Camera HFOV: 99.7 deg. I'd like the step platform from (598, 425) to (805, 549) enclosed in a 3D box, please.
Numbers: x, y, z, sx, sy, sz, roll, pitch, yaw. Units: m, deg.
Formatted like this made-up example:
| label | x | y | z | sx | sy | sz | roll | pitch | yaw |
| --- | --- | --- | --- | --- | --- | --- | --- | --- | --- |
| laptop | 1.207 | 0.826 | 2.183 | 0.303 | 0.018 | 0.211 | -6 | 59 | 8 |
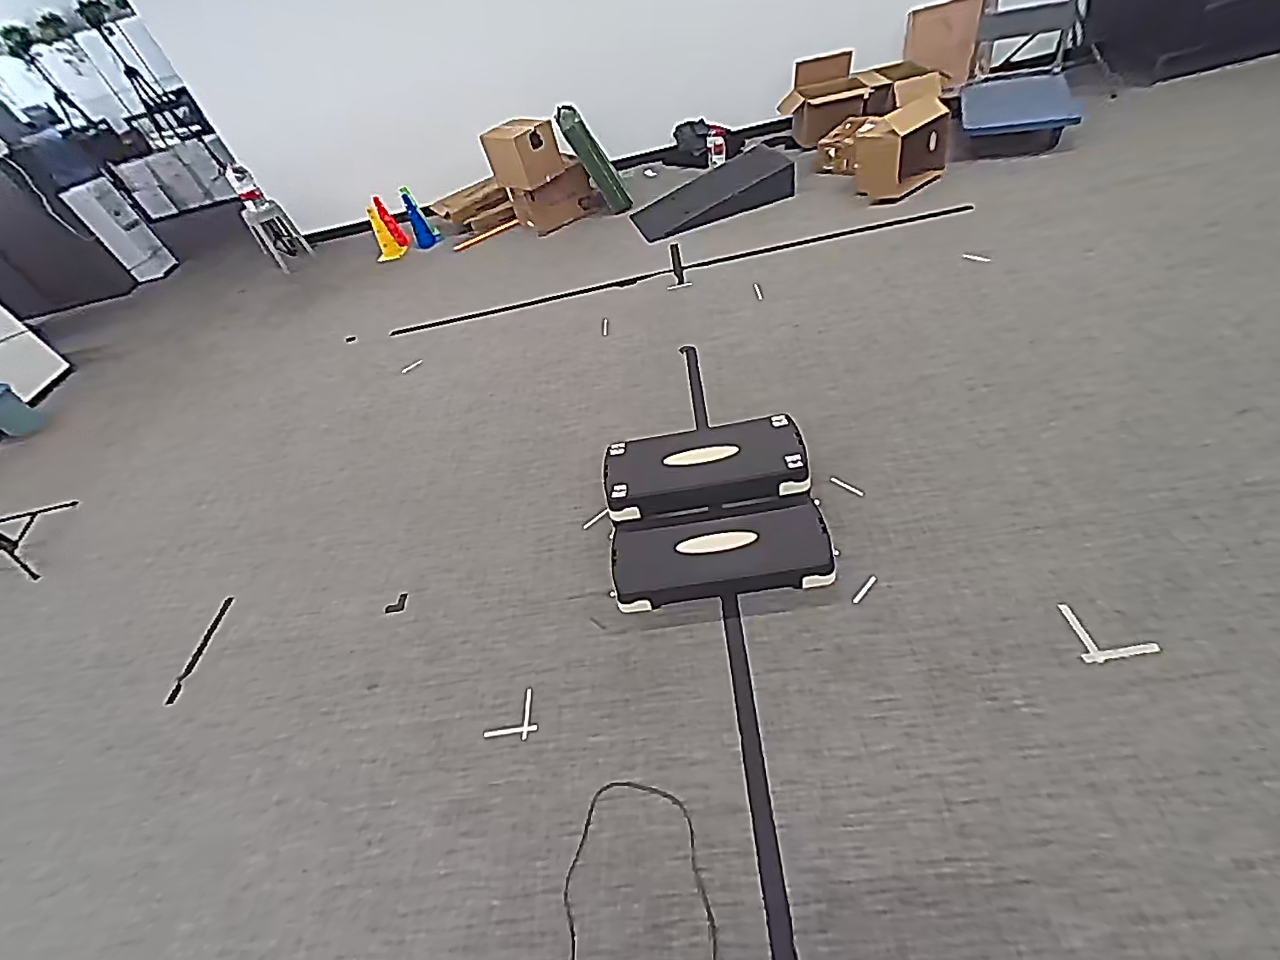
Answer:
| label | x | y | z | sx | sy | sz | roll | pitch | yaw |
| --- | --- | --- | --- | --- | --- | --- | --- | --- | --- |
| step platform | 0.200 | 0.020 | 1.841 | 0.684 | 0.204 | 0.286 | -10 | 46 | 5 |
